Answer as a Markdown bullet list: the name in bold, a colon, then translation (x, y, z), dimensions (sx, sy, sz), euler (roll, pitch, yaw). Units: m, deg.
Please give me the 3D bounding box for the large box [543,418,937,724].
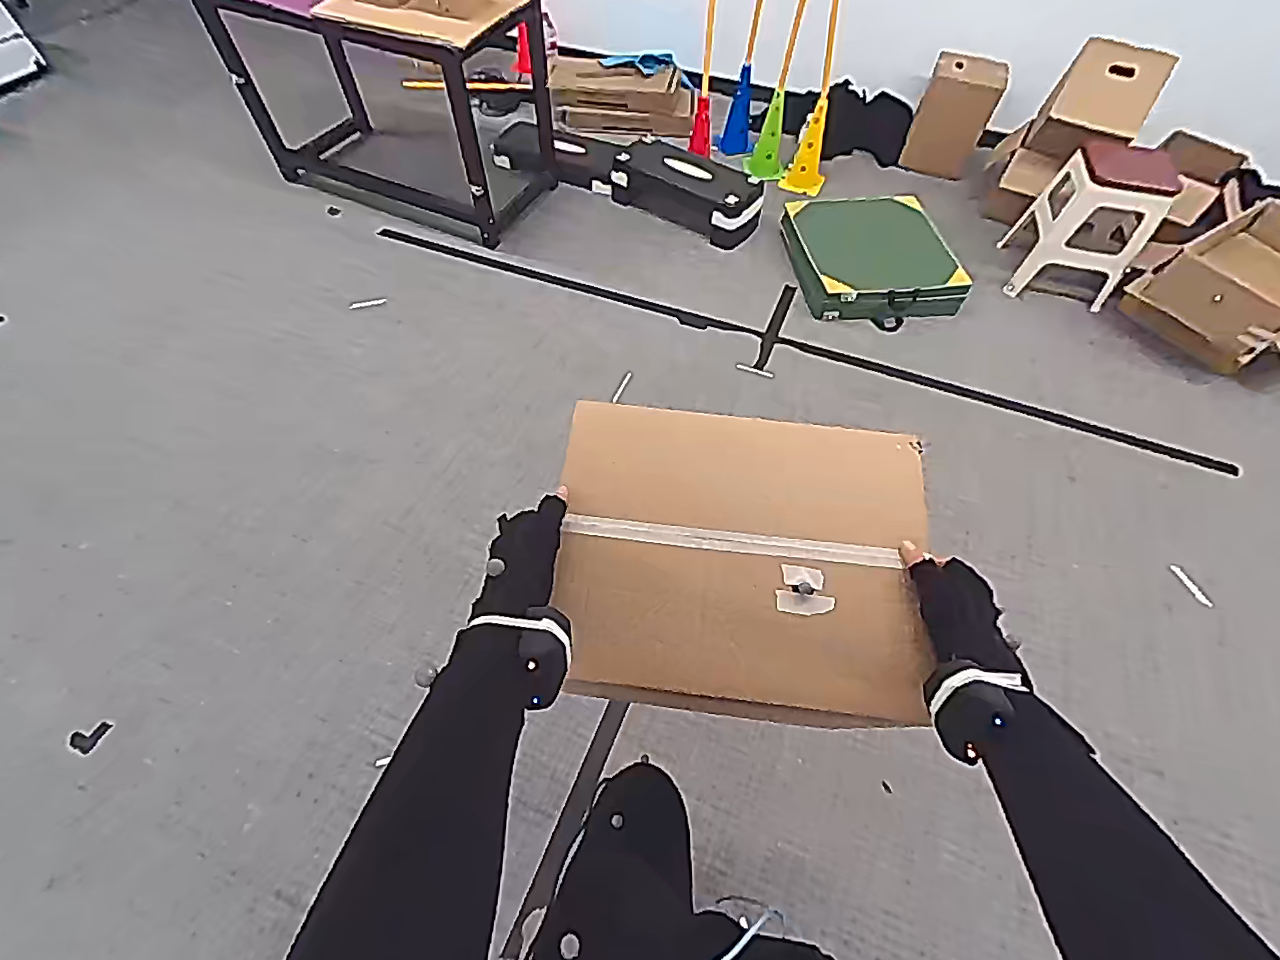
- **large box**: translation (0.108, 0.141, 0.734), dimensions (0.408, 0.320, 0.320), euler (6, 66, 2)
